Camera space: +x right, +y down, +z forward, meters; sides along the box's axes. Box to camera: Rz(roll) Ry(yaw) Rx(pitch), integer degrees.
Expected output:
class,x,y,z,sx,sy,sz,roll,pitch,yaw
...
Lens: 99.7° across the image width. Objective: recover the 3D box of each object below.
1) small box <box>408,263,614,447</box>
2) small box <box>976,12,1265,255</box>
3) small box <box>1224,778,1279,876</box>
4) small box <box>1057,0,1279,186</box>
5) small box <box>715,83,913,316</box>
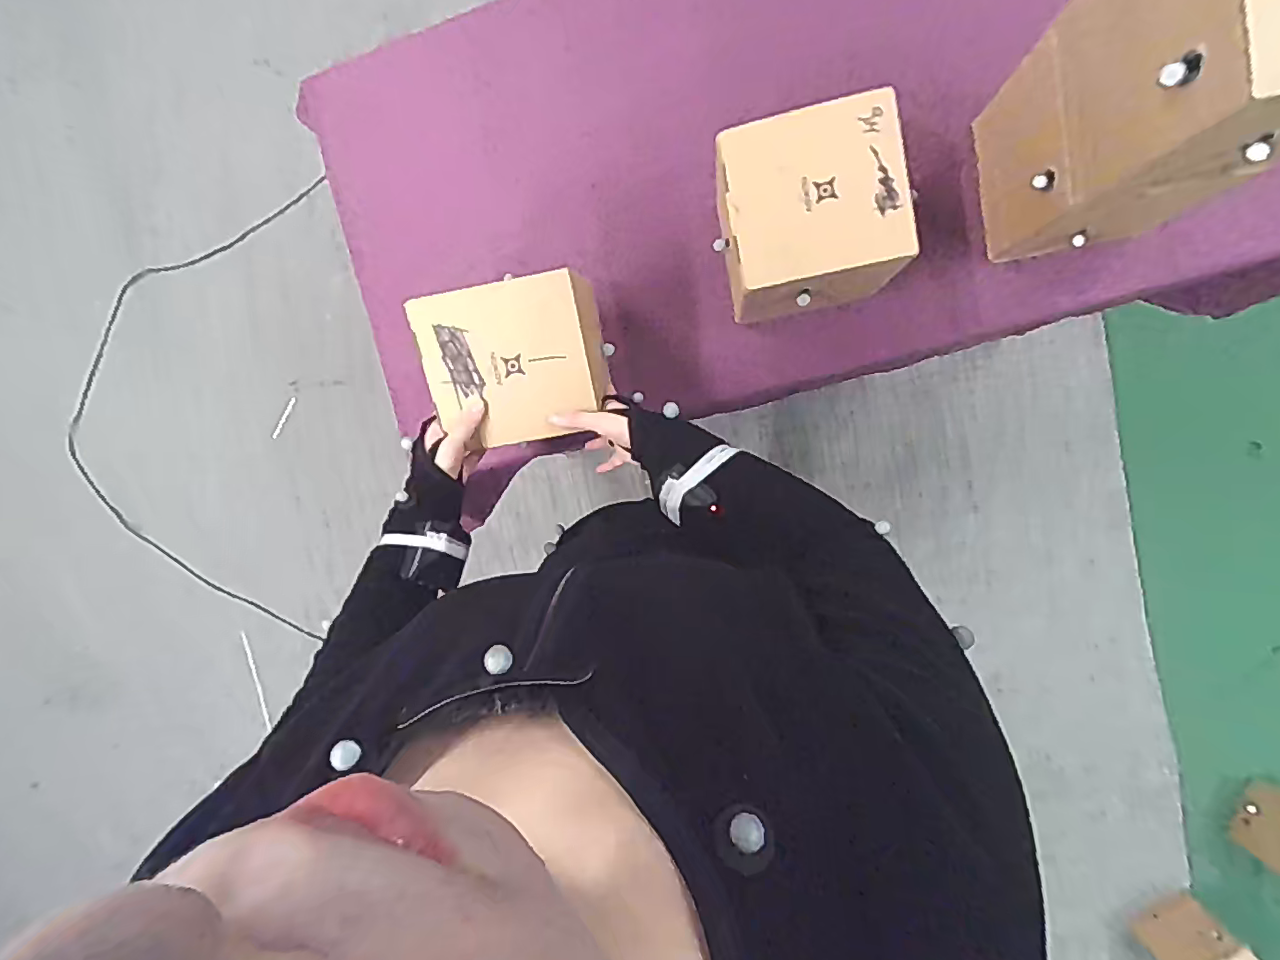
class,x,y,z,sx,sy,sz,roll,pitch,yaw
small box,-0.135,-0.147,0.640,0.179,0.176,0.168,-10,106,5
small box,0.488,-0.368,0.579,0.168,0.176,0.179,-9,94,9
small box,1.557,0.834,1.262,0.179,0.176,0.168,14,96,6
small box,0.467,-0.355,0.416,0.168,0.176,0.179,-10,93,8
small box,0.188,-0.301,0.625,0.179,0.176,0.168,-10,93,9
